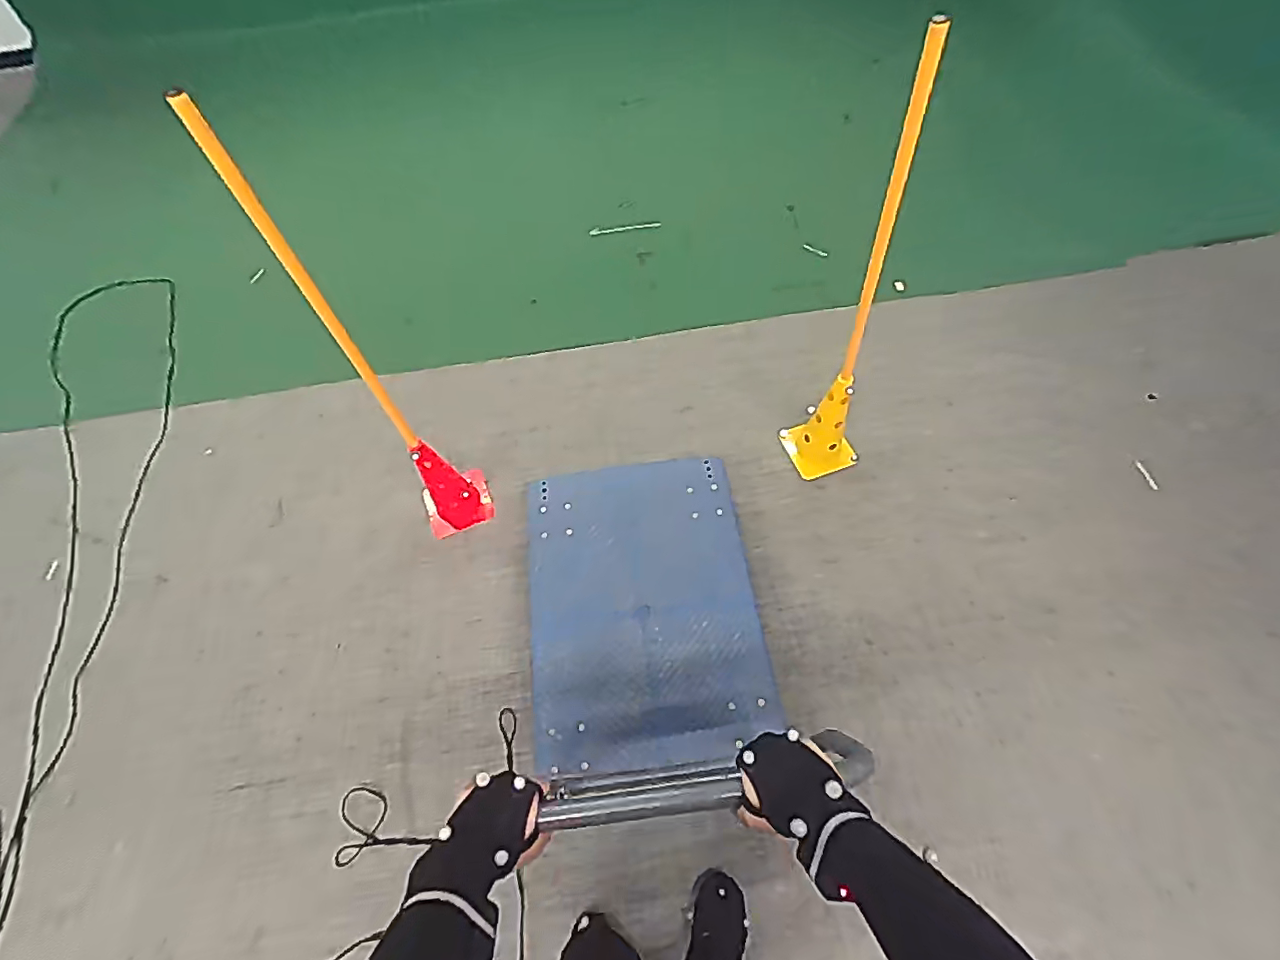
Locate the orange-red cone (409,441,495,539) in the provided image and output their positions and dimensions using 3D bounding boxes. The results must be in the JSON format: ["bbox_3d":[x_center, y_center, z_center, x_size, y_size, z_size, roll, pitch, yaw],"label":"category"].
[{"bbox_3d":[-0.592,-0.002,1.599,0.199,0.360,0.198,-22,61,-7],"label":"orange-red cone"}]
